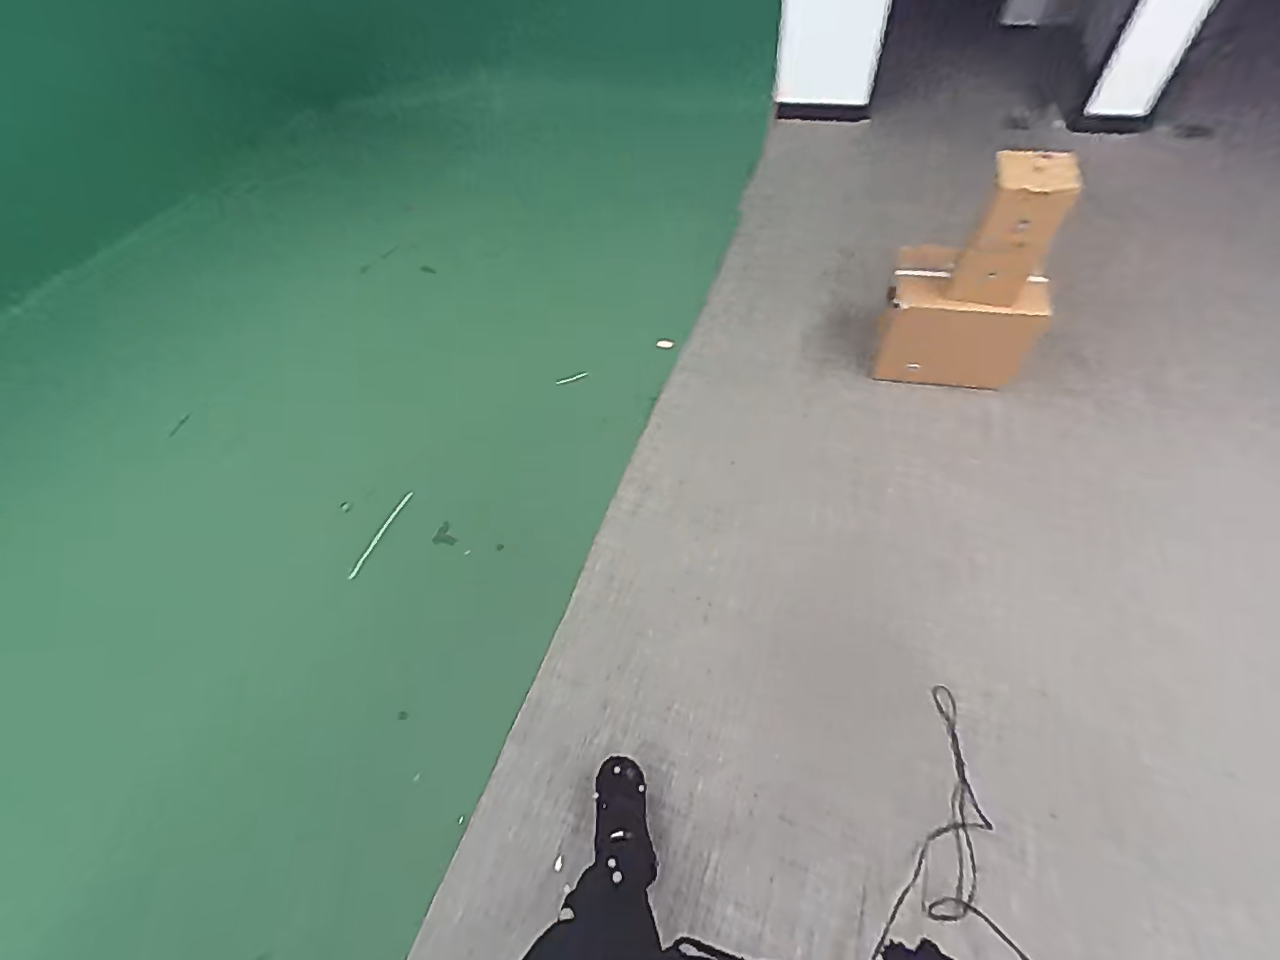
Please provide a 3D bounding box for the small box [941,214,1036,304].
[{"bbox_3d":[0.981,-0.622,1.531,0.179,0.176,0.168,12,59,15],"label":"small box"}]

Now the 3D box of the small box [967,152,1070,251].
[{"bbox_3d":[0.970,-0.717,1.399,0.168,0.176,0.179,11,59,14],"label":"small box"}]
